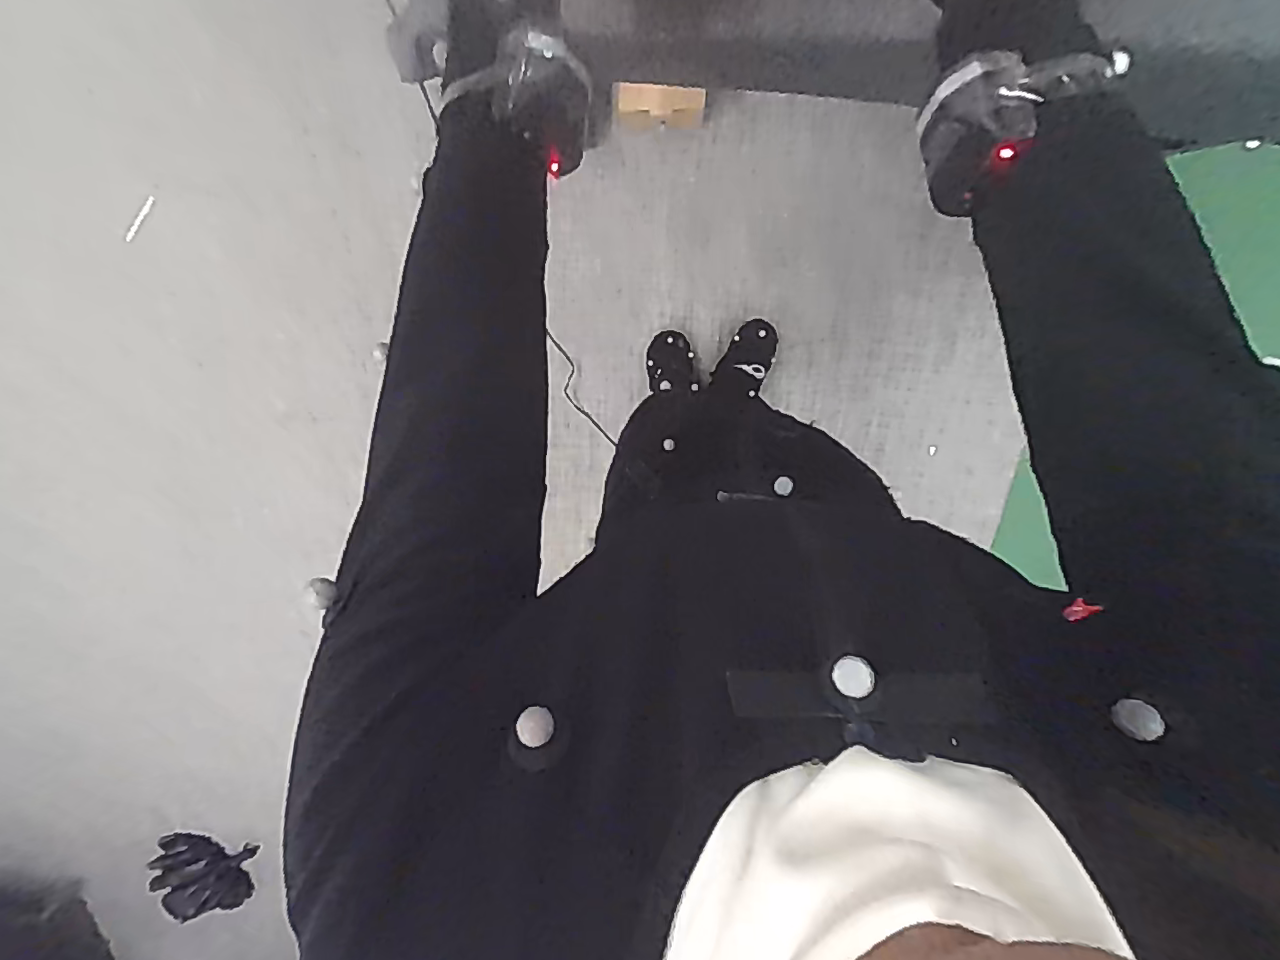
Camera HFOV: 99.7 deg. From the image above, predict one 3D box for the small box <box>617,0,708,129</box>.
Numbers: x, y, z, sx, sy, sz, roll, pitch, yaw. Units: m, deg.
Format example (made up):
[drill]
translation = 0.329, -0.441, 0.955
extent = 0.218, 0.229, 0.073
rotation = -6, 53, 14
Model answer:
[small box]
translation = 0.046, -0.807, 1.067
extent = 0.168, 0.176, 0.179
rotation = 1, 112, 4
